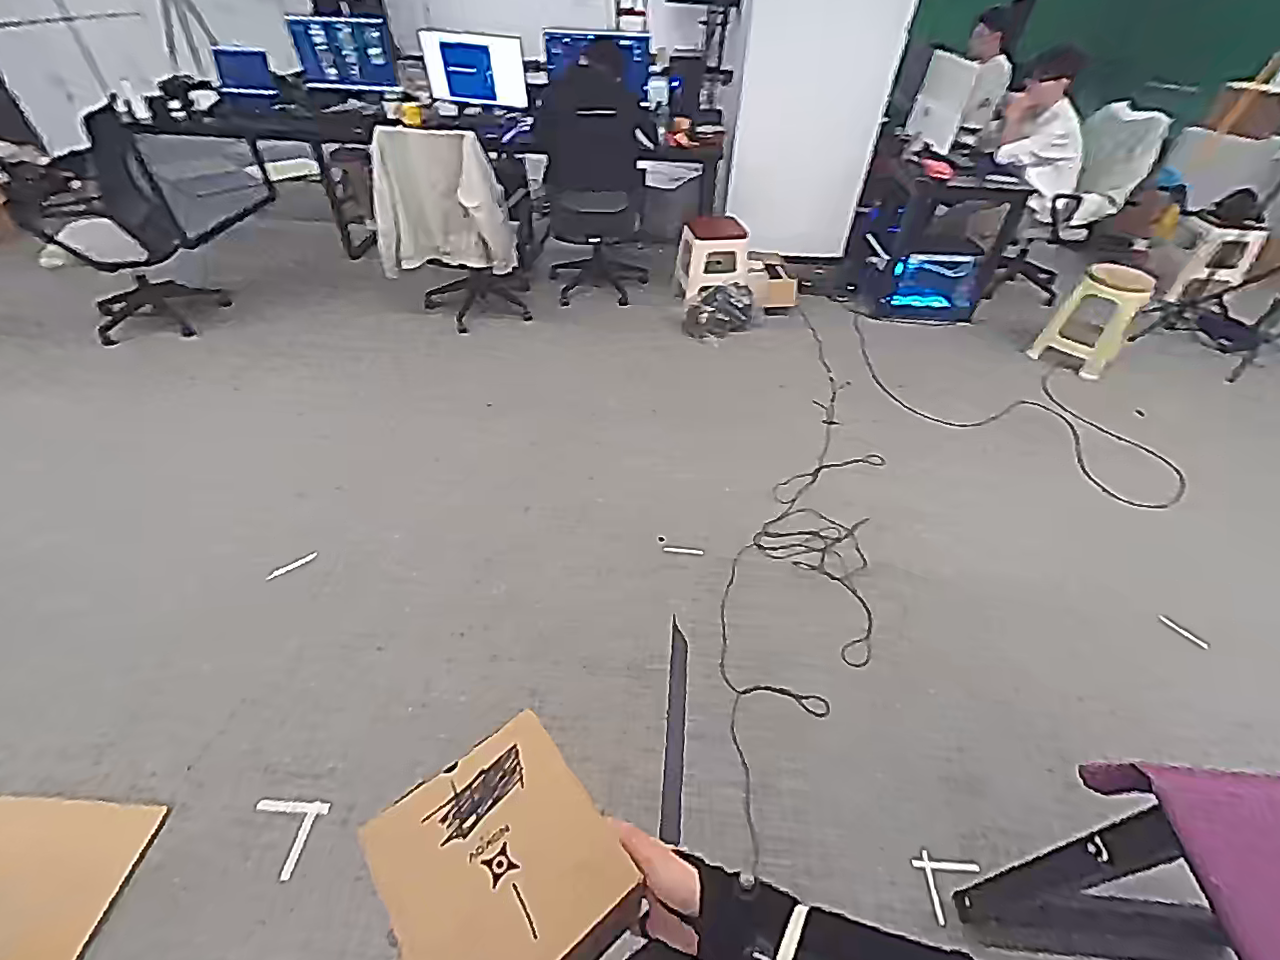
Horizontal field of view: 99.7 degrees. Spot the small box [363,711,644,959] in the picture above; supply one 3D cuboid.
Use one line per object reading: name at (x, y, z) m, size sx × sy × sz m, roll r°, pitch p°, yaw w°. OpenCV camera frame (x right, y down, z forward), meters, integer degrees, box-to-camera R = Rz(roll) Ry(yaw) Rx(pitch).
small box at (-0.114, 0.357, 0.485) m, size 0.168 × 0.176 × 0.179 m, roll -29°, pitch 51°, yaw -27°
